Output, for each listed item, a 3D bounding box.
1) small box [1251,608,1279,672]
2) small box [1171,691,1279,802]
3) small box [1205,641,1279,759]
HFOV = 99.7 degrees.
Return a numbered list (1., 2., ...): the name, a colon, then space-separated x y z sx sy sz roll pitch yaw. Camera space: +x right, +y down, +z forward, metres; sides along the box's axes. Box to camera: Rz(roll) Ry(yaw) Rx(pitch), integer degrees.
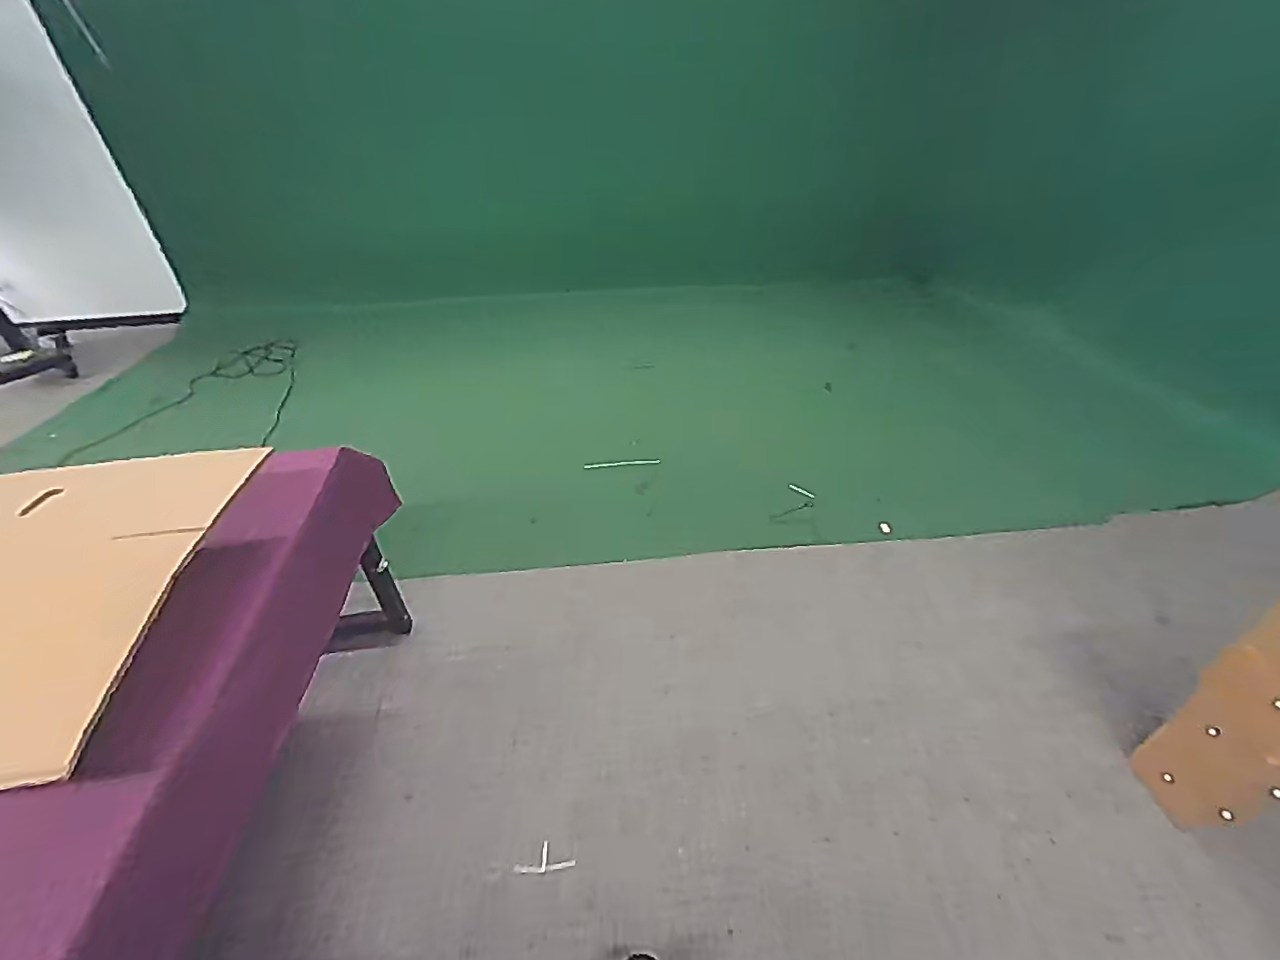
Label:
1. small box: 1.376 0.333 1.039 0.168 0.176 0.179 1 36 4
2. small box: 1.385 0.601 1.227 0.168 0.176 0.179 -3 37 1
3. small box: 1.378 0.463 1.140 0.168 0.176 0.179 -1 37 3
